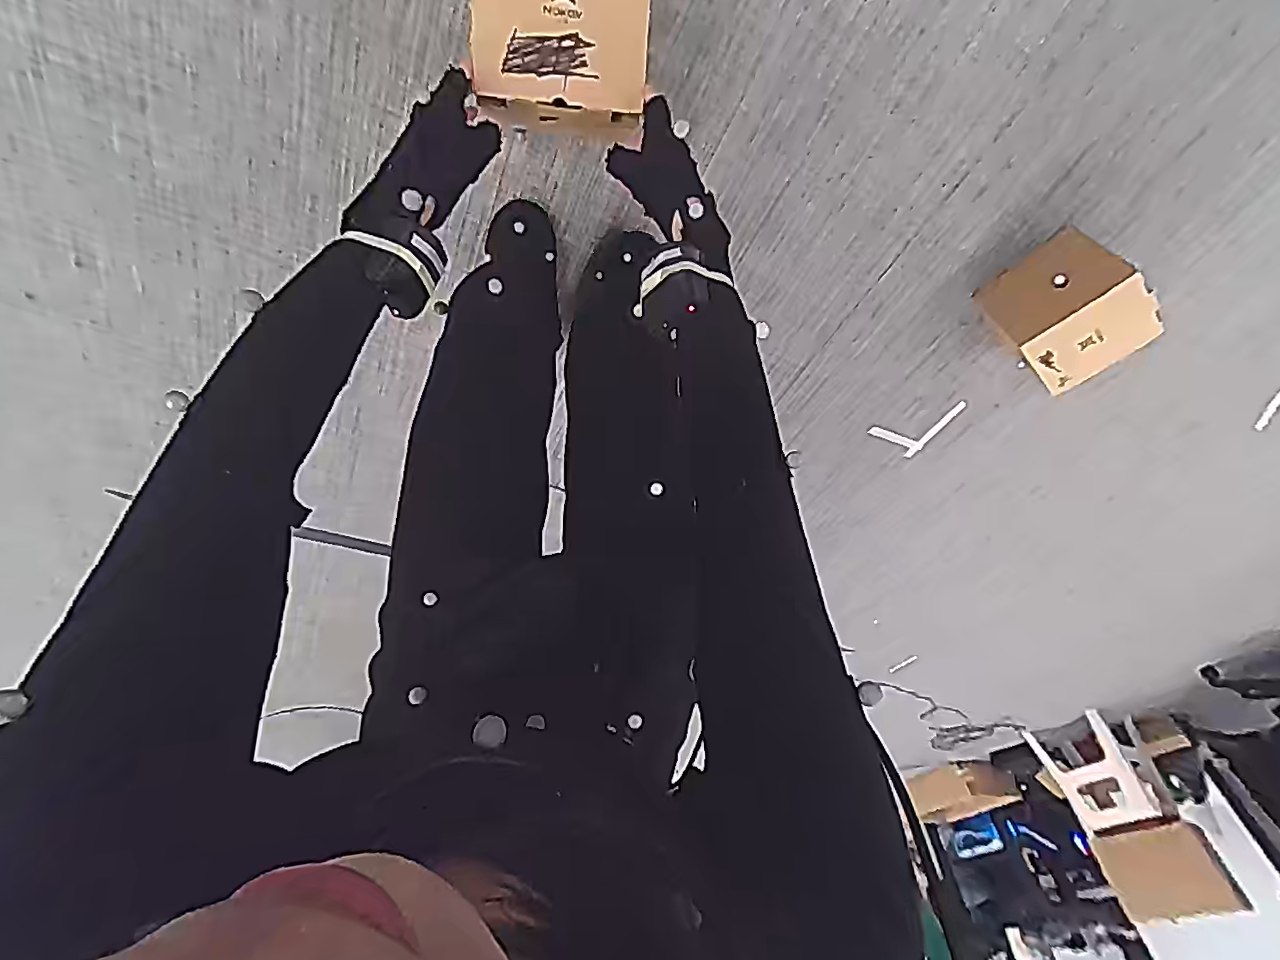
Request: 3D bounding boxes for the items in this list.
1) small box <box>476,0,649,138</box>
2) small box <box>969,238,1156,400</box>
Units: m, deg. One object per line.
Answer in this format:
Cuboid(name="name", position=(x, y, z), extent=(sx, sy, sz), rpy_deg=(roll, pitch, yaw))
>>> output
Cuboid(name="small box", position=(-0.080, -0.488, 0.586), extent=(0.168, 0.176, 0.179), rpy_deg=(3, 116, -8))
Cuboid(name="small box", position=(0.724, -0.281, 0.941), extent=(0.168, 0.176, 0.179), rpy_deg=(31, 125, -31))
